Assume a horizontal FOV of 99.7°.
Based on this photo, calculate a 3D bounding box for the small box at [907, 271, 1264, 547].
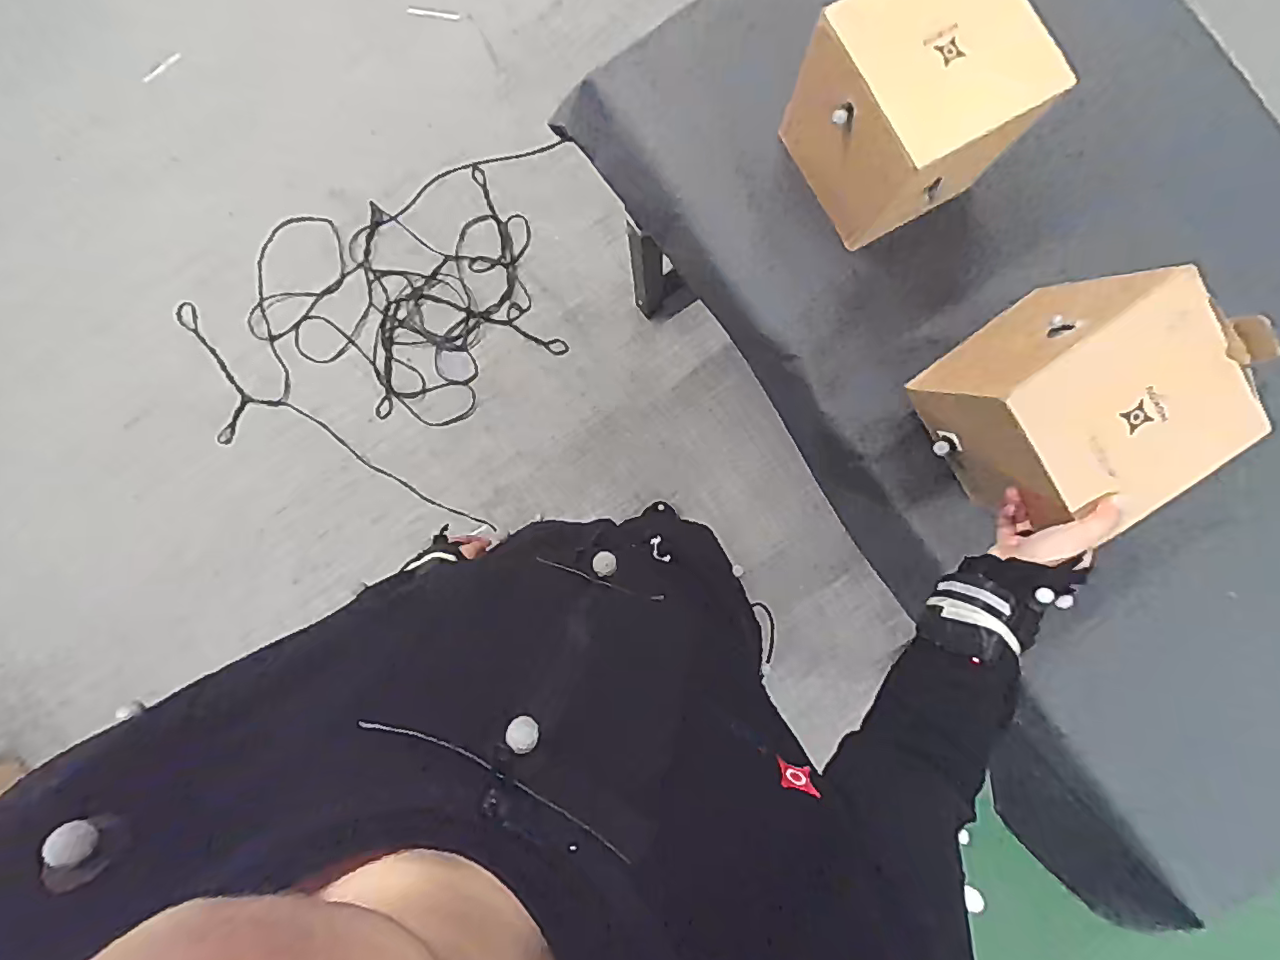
[{"bbox_3d":[0.406,-0.071,0.523,0.179,0.176,0.168,-37,102,6],"label":"small box"}]

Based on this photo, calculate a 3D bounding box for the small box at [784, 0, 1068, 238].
[{"bbox_3d":[0.279,-0.388,0.572,0.168,0.176,0.179,-29,87,-1],"label":"small box"}]
